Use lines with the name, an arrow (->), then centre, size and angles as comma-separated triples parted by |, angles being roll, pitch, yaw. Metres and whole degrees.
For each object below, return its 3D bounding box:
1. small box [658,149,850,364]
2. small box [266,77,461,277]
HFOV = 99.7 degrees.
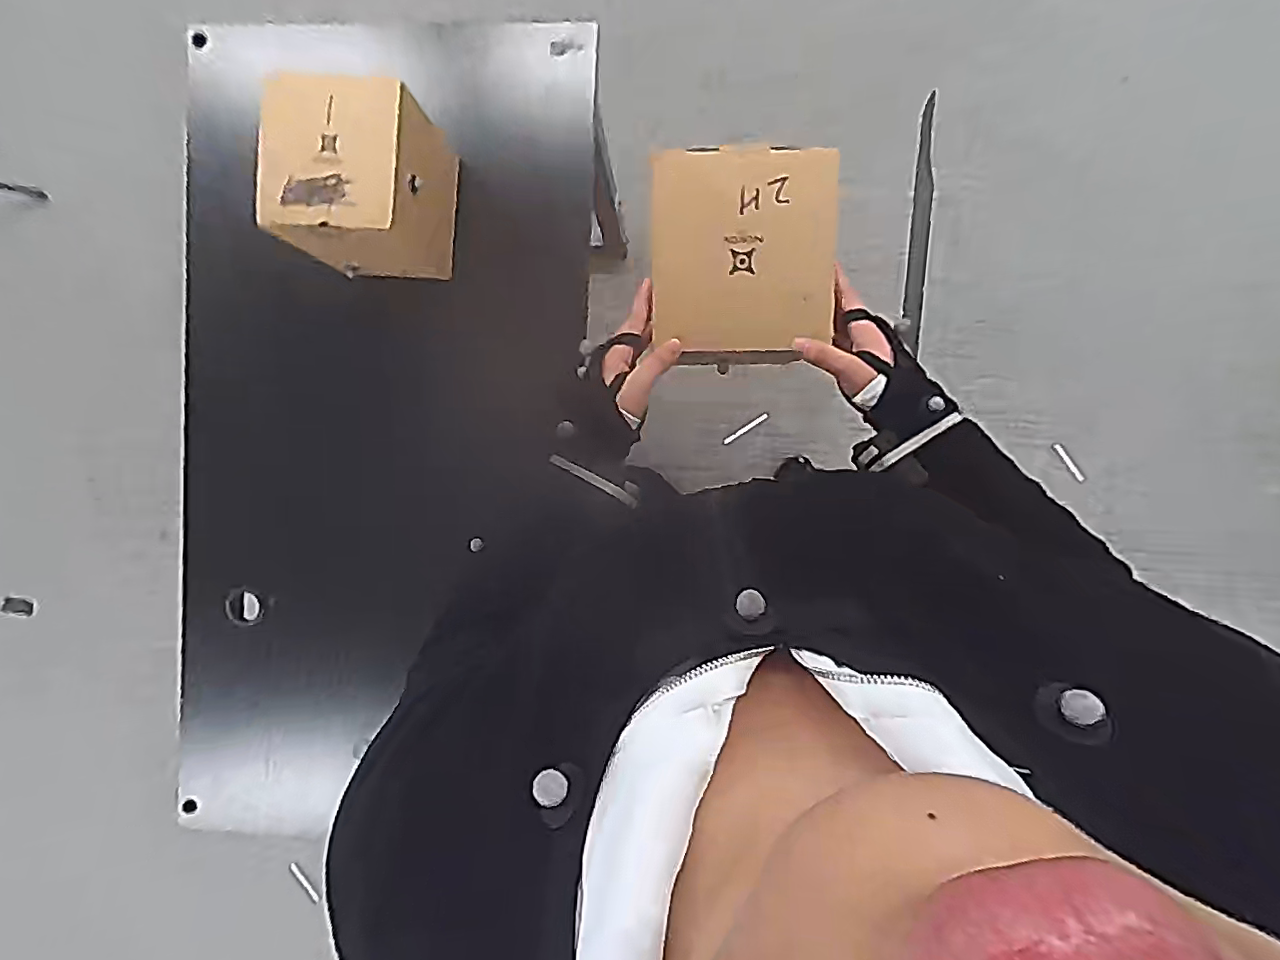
small box -> 0.104, -0.217, 0.569 | 0.168, 0.176, 0.179 | 1, 97, 0
small box -> -0.349, -0.382, 0.711 | 0.168, 0.176, 0.179 | 5, 92, 4
